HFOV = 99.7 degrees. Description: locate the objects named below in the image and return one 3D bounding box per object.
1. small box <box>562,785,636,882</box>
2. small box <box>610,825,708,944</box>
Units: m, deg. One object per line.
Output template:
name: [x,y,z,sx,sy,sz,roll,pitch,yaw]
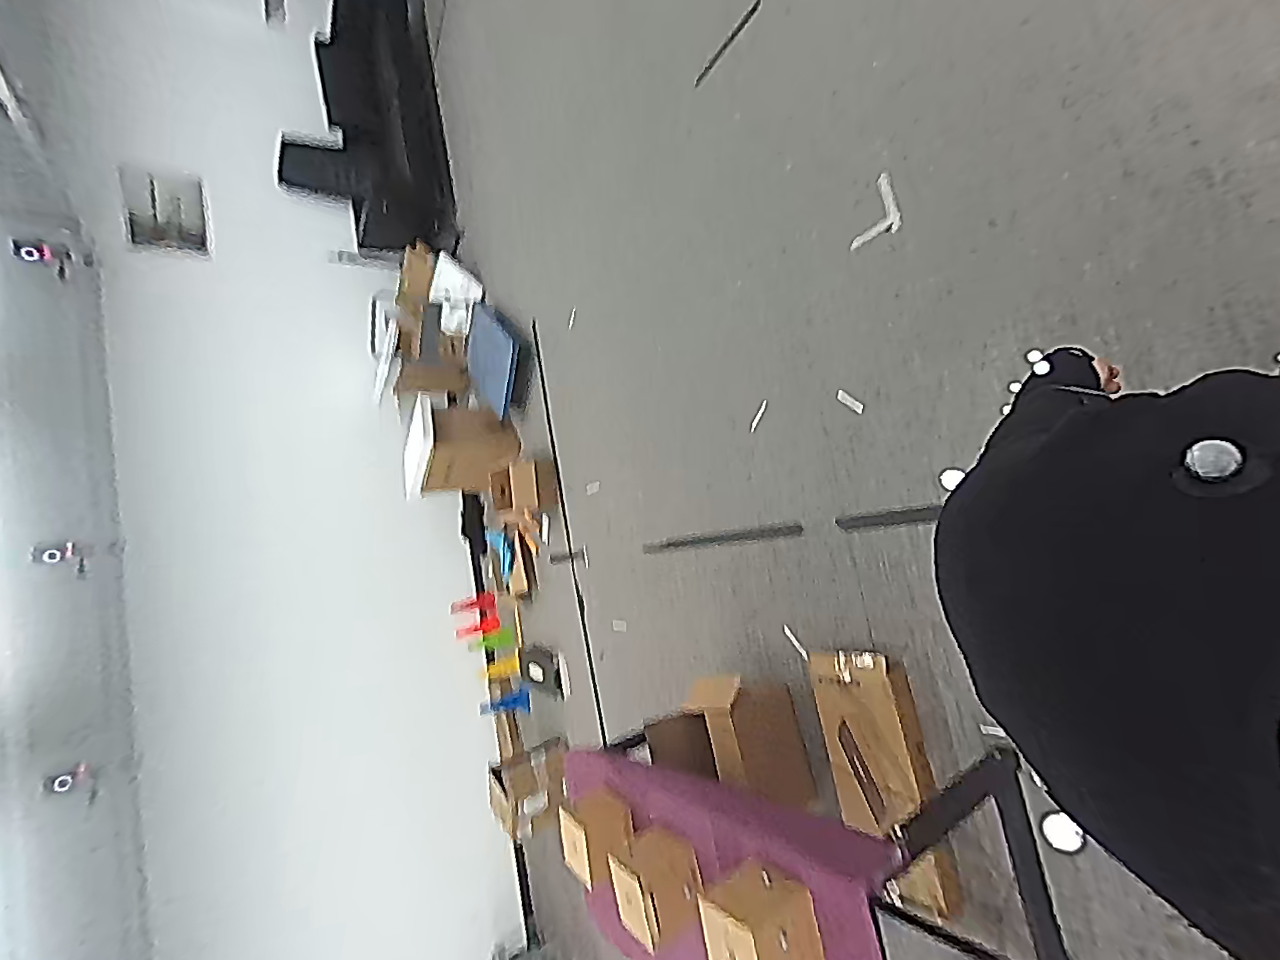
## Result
small box: [-0.123,1.086,1.680,0.179,0.176,0.168,-10,87,56]
small box: [0.049,1.042,1.415,0.179,0.176,0.168,-22,79,55]
